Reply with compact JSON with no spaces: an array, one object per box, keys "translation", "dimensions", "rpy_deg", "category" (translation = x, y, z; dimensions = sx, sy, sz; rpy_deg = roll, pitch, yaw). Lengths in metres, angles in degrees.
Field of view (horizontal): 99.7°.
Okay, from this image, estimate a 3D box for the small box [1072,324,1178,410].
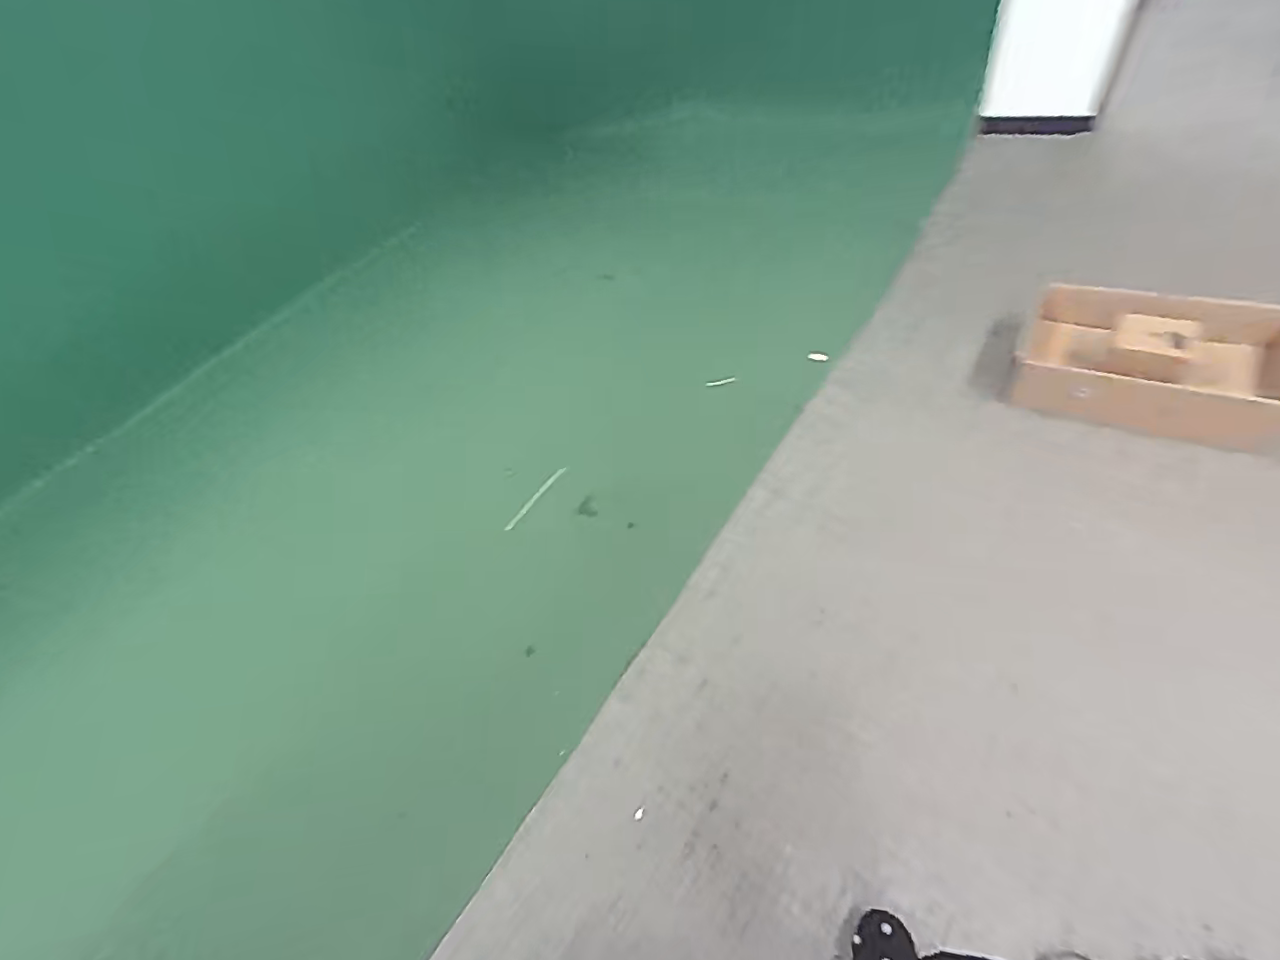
[{"translation":[1.422,-0.328,1.591],"dimensions":[0.179,0.176,0.168],"rpy_deg":[21,59,30],"category":"small box"}]
